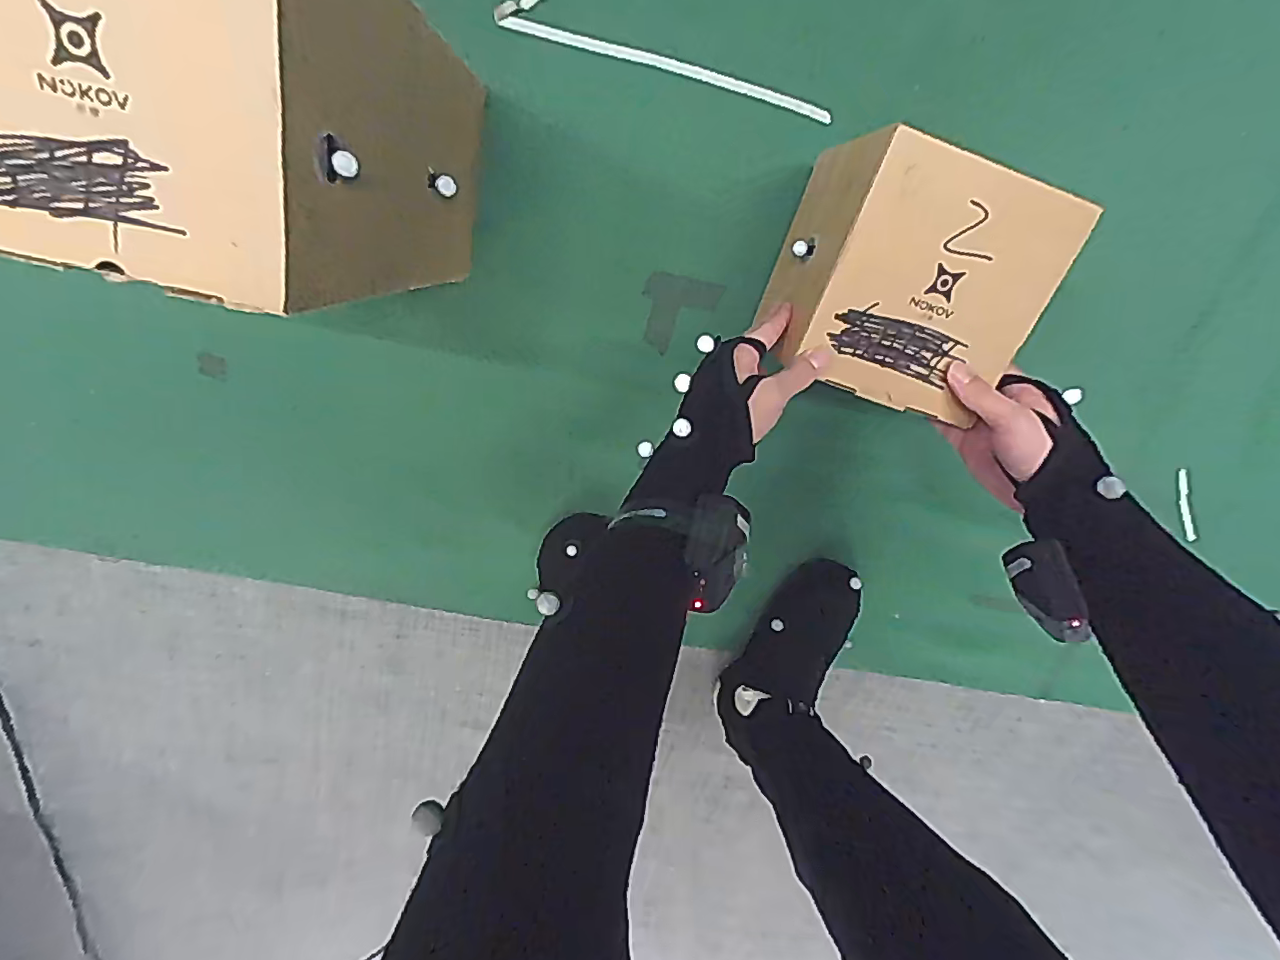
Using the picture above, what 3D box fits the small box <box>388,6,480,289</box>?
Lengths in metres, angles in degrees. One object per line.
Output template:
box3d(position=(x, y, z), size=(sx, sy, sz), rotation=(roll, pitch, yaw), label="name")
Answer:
box3d(position=(-0.238, -0.271, 0.445), size=(0.168, 0.176, 0.179), rotation=(11, 113, -7), label="small box")

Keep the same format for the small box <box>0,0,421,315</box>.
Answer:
box3d(position=(-0.232, -0.206, 0.295), size=(0.168, 0.176, 0.179), rotation=(11, 113, -7), label="small box")
